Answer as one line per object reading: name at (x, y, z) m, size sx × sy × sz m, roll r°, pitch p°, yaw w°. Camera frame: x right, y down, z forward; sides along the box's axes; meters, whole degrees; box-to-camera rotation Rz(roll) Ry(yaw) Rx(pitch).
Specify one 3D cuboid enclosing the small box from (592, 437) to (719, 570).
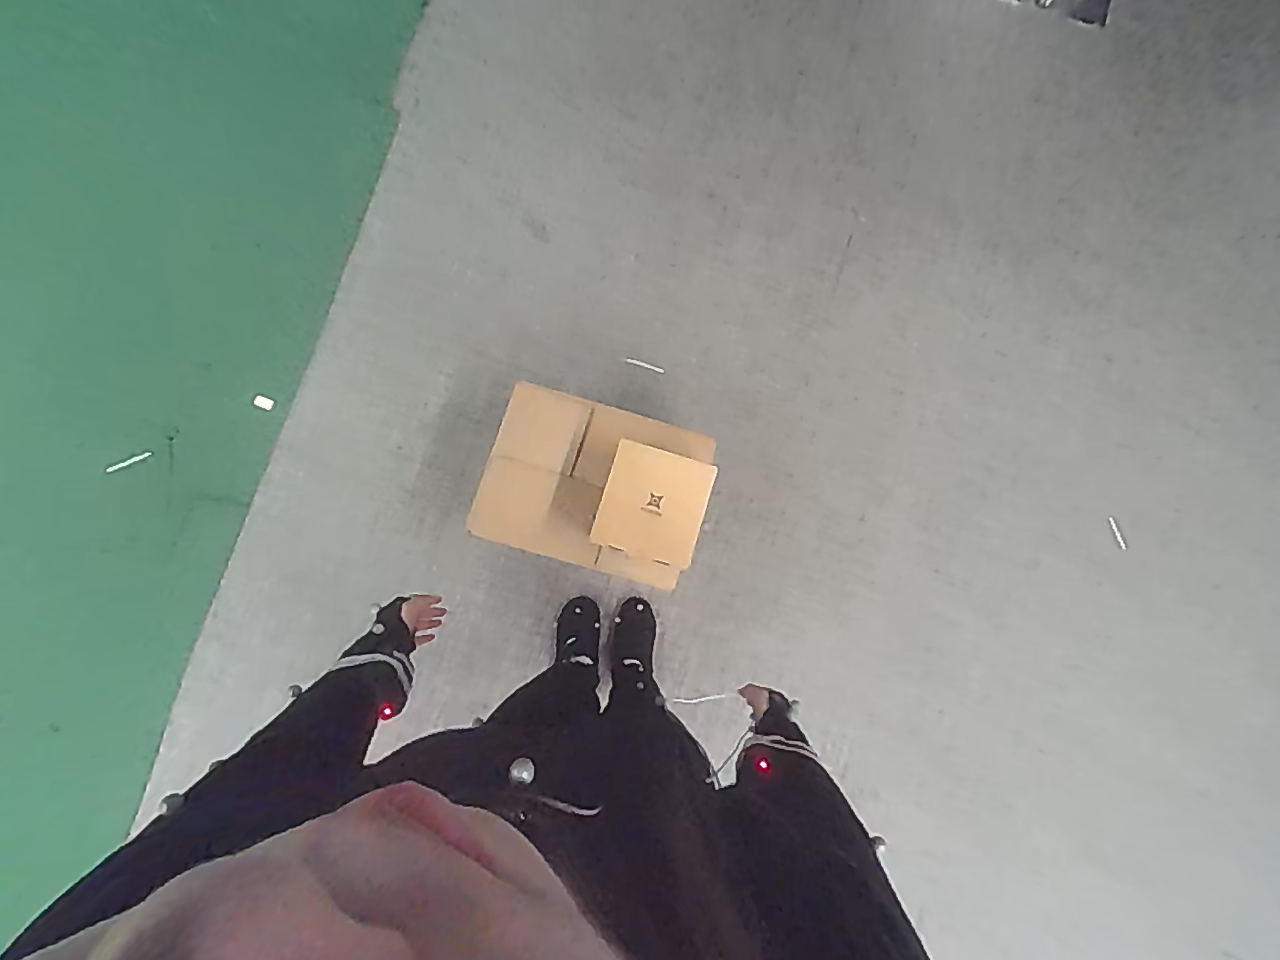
small box at (0.023, 0.043, 0.939) m, size 0.168 × 0.176 × 0.179 m, roll 17°, pitch 86°, yaw 1°
